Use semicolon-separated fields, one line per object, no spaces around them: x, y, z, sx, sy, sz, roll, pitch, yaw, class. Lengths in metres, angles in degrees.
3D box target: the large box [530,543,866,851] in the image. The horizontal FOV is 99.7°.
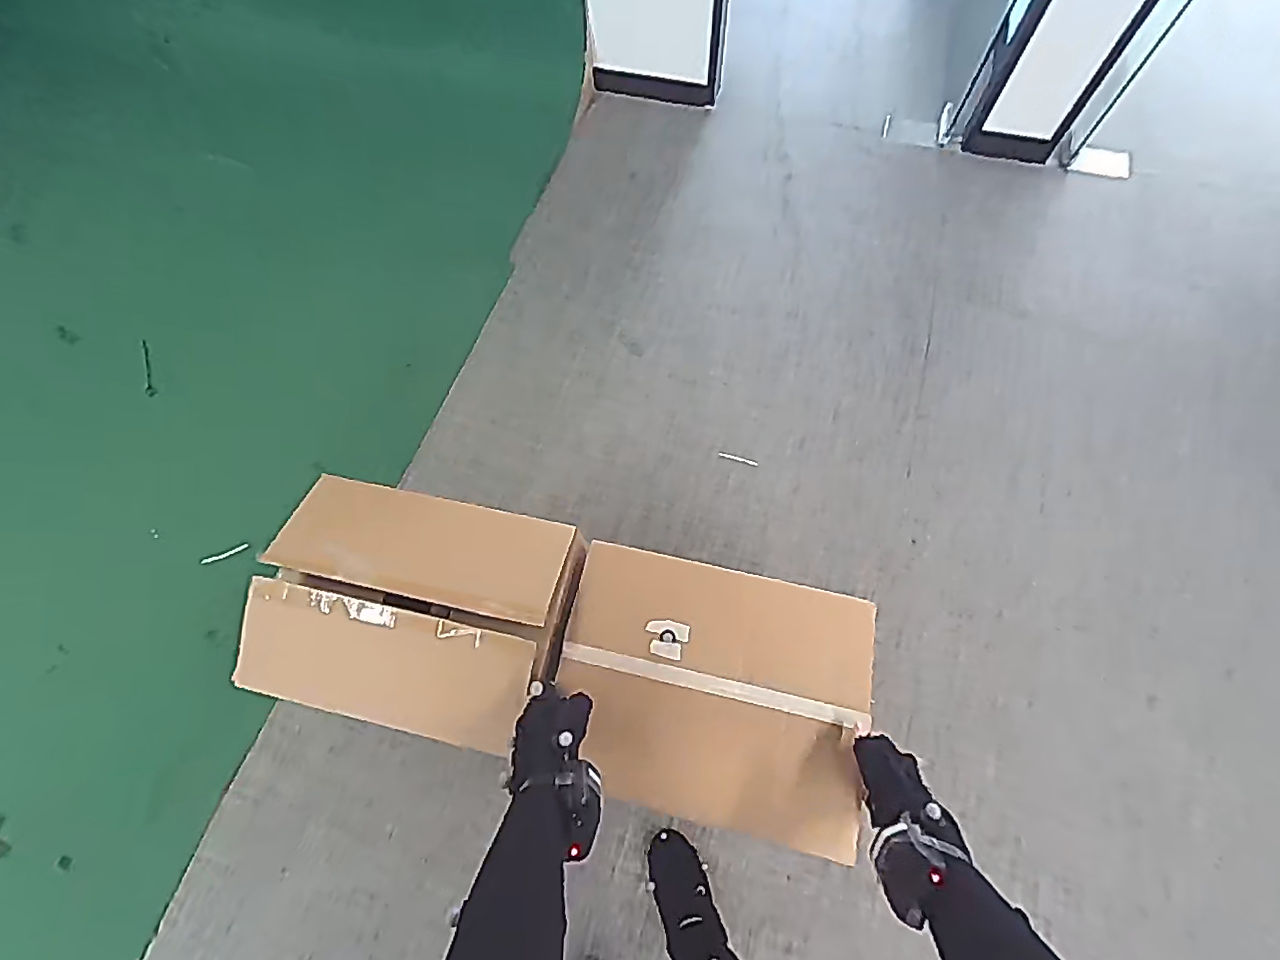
0.096;0.316;0.847;0.408;0.320;0.320;11;69;8;large box
